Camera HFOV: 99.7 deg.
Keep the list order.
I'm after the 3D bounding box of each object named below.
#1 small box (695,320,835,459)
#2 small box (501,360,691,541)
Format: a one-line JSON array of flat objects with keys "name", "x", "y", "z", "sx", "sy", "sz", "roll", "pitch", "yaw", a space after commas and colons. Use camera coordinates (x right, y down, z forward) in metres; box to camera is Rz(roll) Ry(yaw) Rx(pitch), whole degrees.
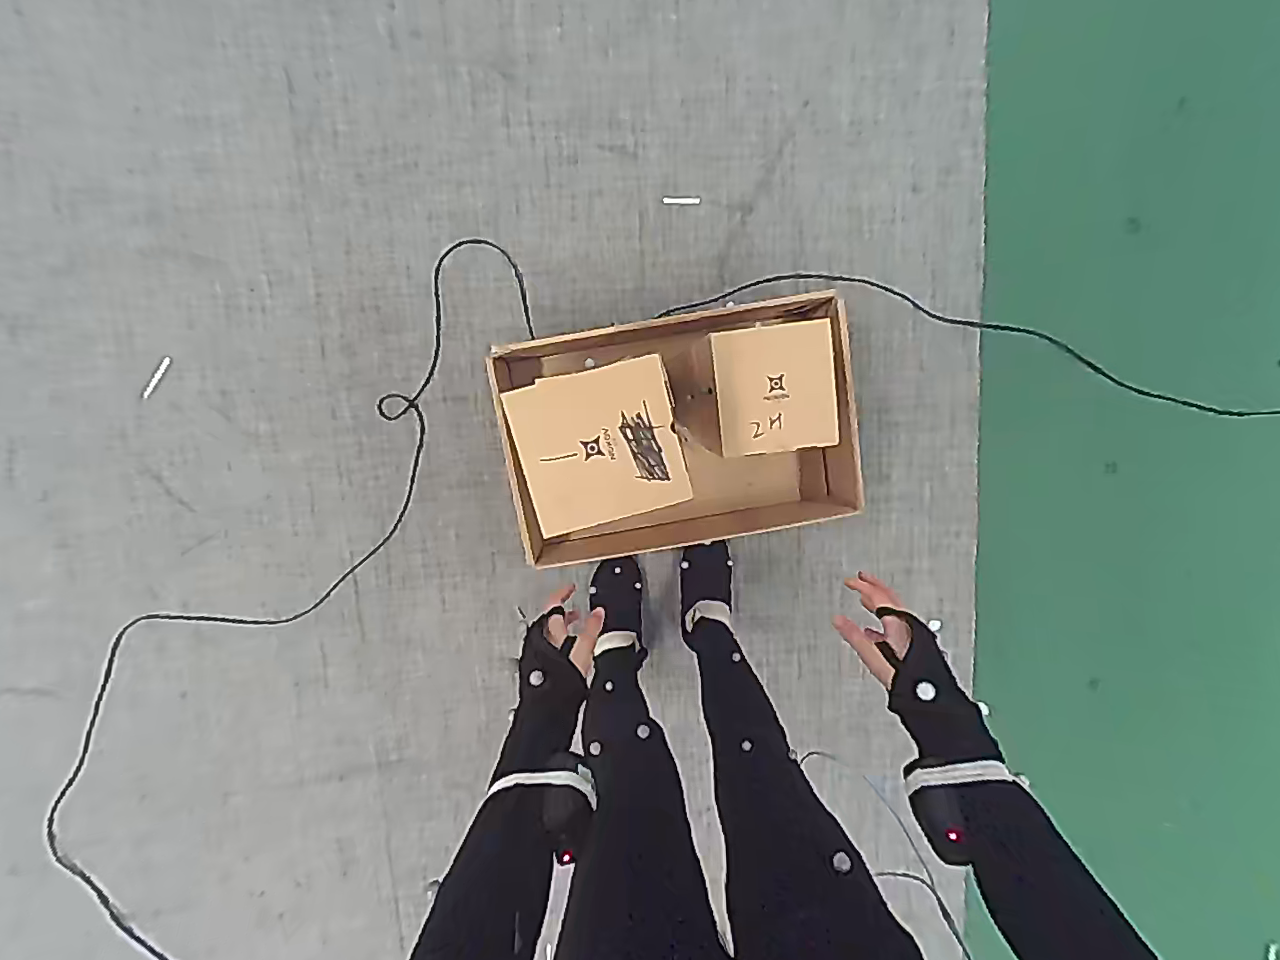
[{"name": "small box", "x": 0.180, "y": -0.134, "z": 0.819, "sx": 0.168, "sy": 0.176, "sz": 0.179, "roll": -7, "pitch": 99, "yaw": 0}, {"name": "small box", "x": -0.050, "y": -0.044, "z": 0.662, "sx": 0.179, "sy": 0.176, "sz": 0.168, "roll": -15, "pitch": 100, "yaw": -1}]
